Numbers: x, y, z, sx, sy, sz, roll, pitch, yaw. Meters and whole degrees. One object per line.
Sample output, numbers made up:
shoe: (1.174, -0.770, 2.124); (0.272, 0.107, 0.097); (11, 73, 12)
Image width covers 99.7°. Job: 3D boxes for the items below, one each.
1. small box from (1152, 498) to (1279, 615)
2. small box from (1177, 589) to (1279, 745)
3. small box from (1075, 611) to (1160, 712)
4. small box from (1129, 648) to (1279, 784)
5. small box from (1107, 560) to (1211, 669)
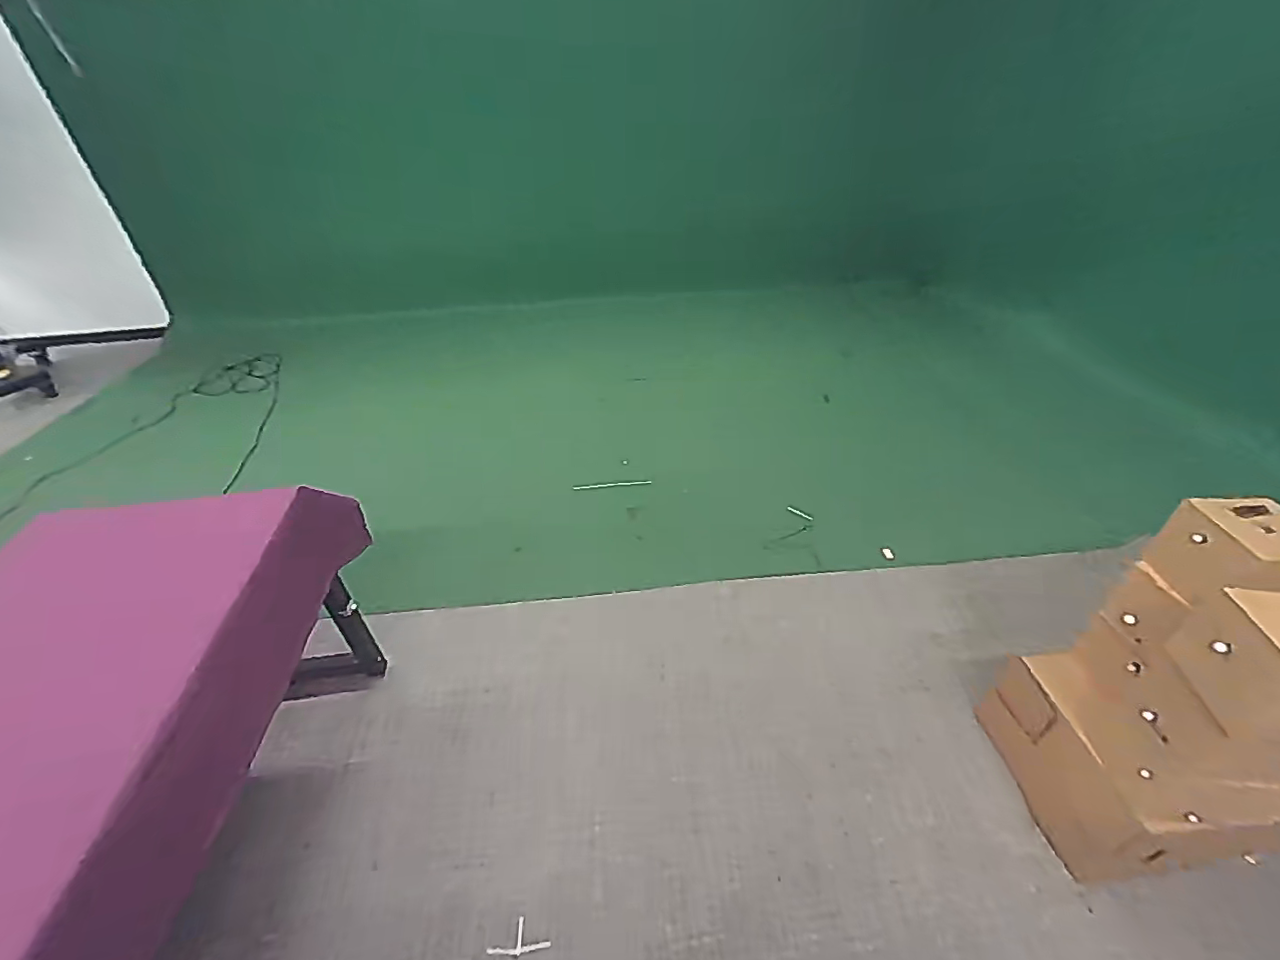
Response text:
small box: (1.177, 0.154, 1.054); (0.168, 0.176, 0.179); (0, 37, 2)
small box: (1.035, 0.302, 0.862); (0.168, 0.176, 0.179); (4, 37, 8)
small box: (1.174, 0.418, 1.249); (0.168, 0.176, 0.179); (-3, 37, -4)
small box: (1.056, 0.425, 0.972); (0.179, 0.176, 0.168); (1, 37, 4)
small box: (1.171, 0.286, 1.154); (0.179, 0.176, 0.168); (-4, 37, -2)
